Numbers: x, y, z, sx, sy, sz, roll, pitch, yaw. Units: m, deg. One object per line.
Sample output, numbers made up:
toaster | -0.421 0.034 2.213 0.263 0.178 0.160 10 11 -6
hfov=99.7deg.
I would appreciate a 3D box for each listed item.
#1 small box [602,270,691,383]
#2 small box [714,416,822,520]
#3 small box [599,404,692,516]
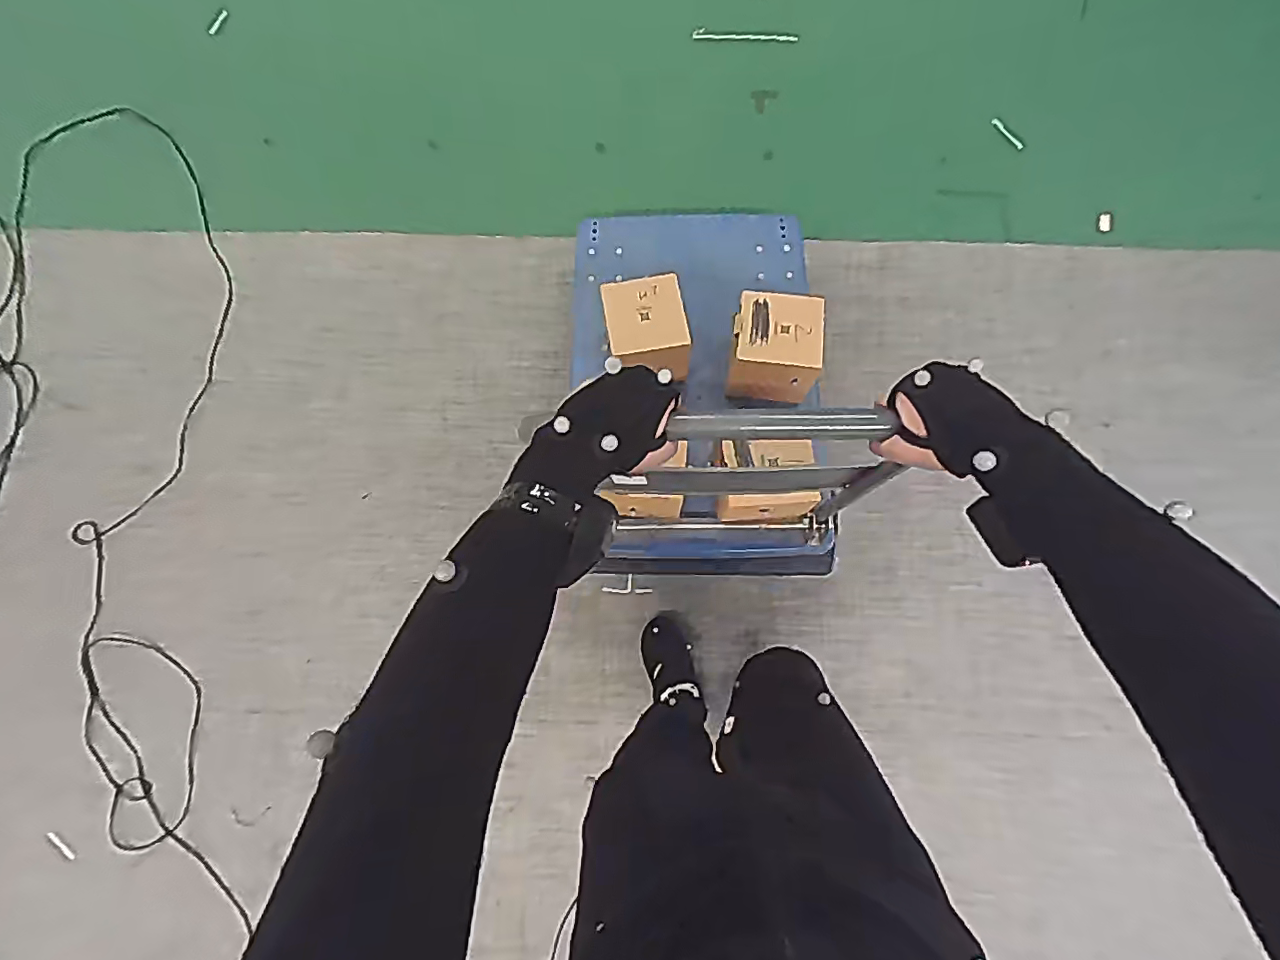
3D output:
small box | 0.014 -0.328 1.193 0.168 0.176 0.179 -9 74 -2
small box | 0.247 -0.018 1.097 0.179 0.176 0.168 -4 74 -1
small box | 0.011 -0.036 1.108 0.168 0.176 0.179 6 74 2
